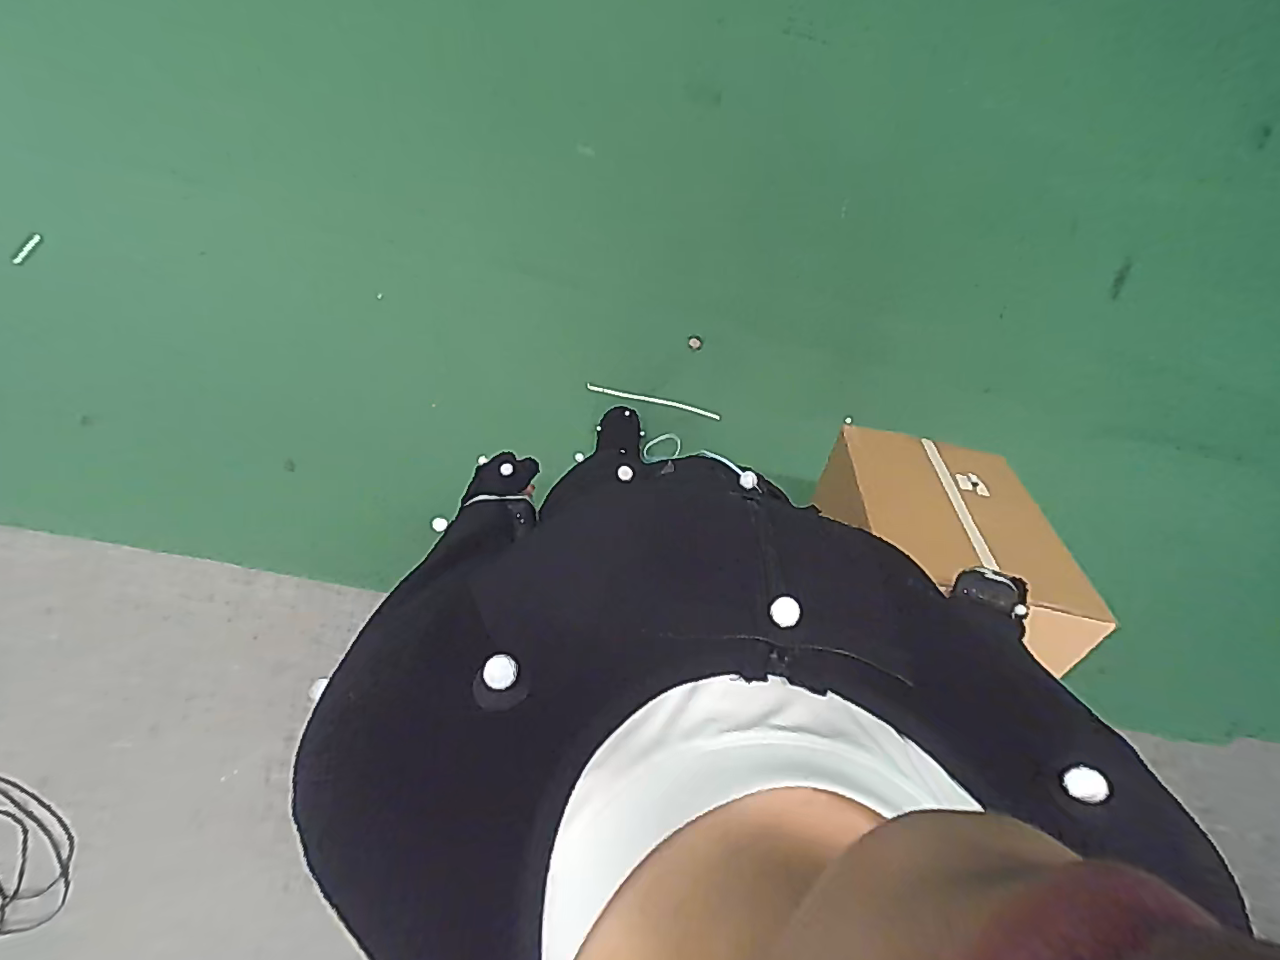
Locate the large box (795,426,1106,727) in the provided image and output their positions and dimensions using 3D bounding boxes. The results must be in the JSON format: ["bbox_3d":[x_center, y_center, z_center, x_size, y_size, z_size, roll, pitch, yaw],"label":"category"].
[{"bbox_3d":[0.485,0.158,0.971,0.320,0.408,0.320,12,127,2],"label":"large box"}]
